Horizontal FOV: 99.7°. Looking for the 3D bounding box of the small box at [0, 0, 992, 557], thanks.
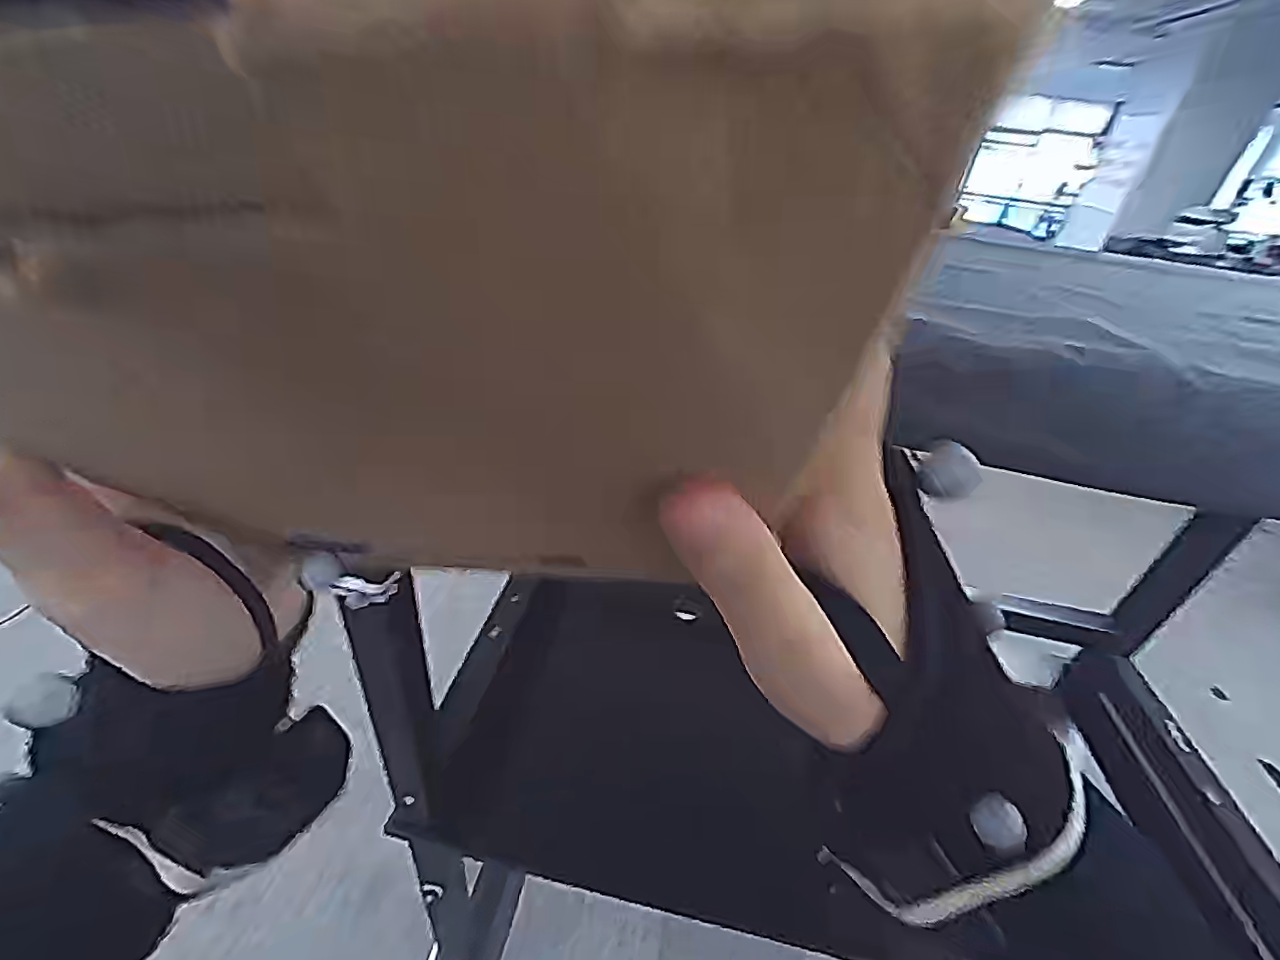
[{"bbox_3d":[-0.043,-0.083,0.150,0.168,0.176,0.179,1,65,3],"label":"small box"}]
